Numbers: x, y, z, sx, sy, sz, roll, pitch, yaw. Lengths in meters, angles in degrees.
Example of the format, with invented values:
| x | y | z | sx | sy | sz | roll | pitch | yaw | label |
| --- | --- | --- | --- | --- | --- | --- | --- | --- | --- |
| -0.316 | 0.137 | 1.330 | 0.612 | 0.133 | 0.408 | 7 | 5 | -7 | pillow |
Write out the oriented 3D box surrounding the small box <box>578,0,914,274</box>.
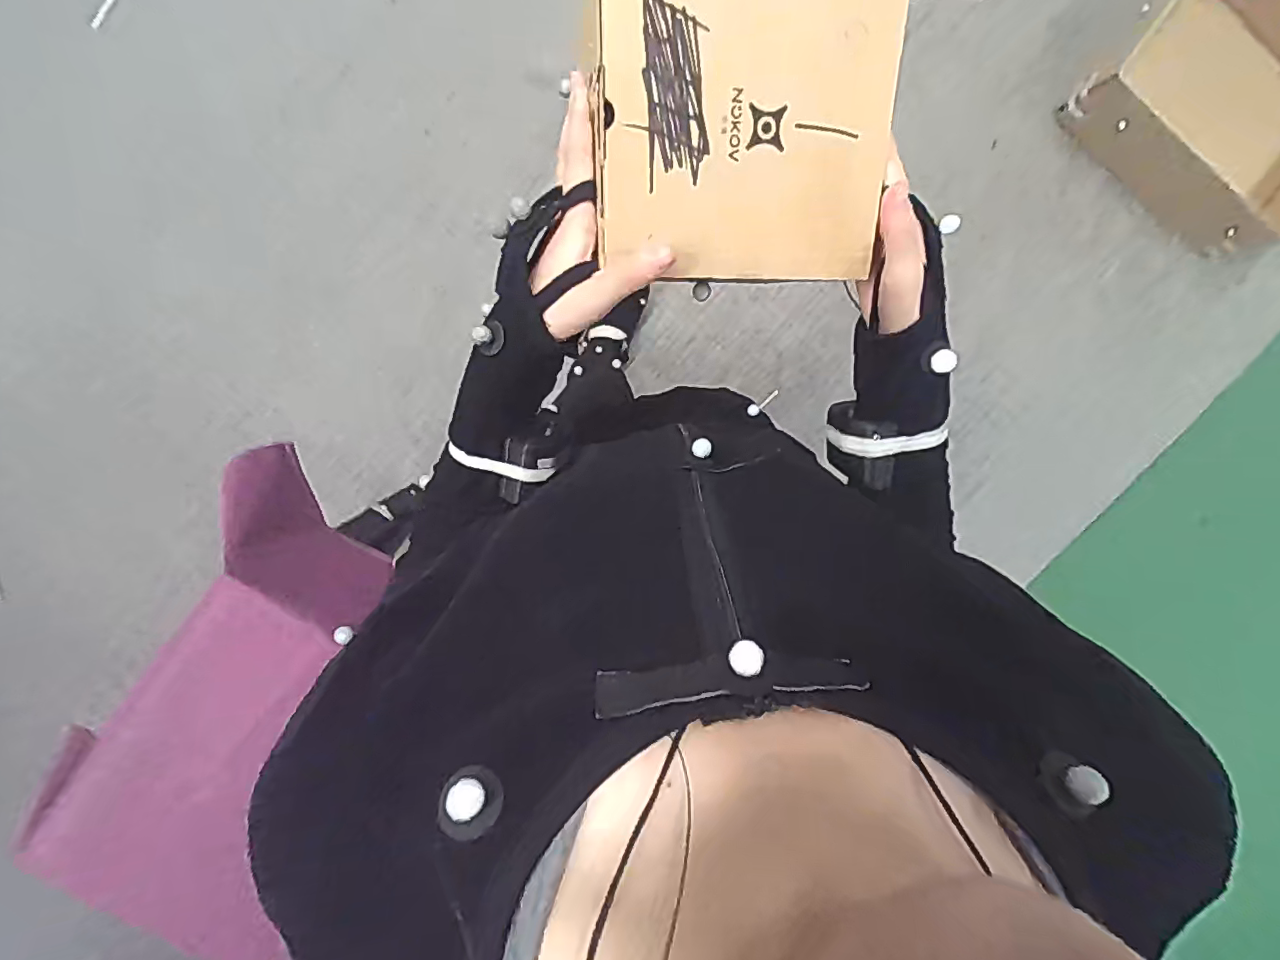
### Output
| x | y | z | sx | sy | sz | roll | pitch | yaw | label |
| --- | --- | --- | --- | --- | --- | --- | --- | --- | --- |
| 0.049 | -0.235 | 0.374 | 0.179 | 0.176 | 0.168 | -3 | 110 | -12 | small box |
